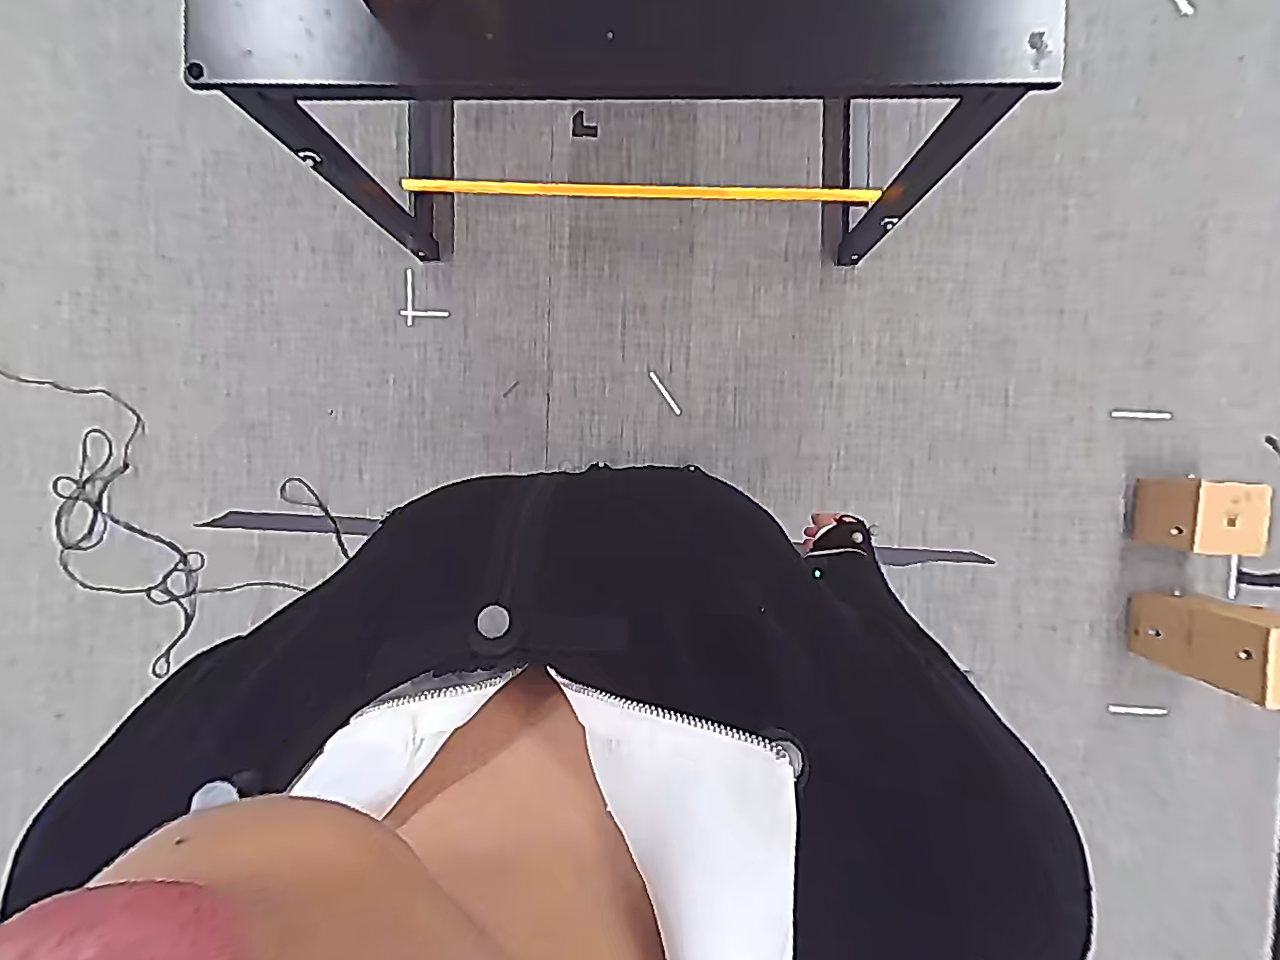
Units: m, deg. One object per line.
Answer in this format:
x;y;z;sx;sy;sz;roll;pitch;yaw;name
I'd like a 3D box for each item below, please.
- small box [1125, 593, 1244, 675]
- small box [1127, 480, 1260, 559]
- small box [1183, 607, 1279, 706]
1.401;0.393;1.390;0.179;0.176;0.168;-1;92;3;small box
1.398;0.094;1.377;0.168;0.176;0.179;3;92;1;small box
1.392;0.392;1.224;0.168;0.176;0.179;0;93;2;small box
